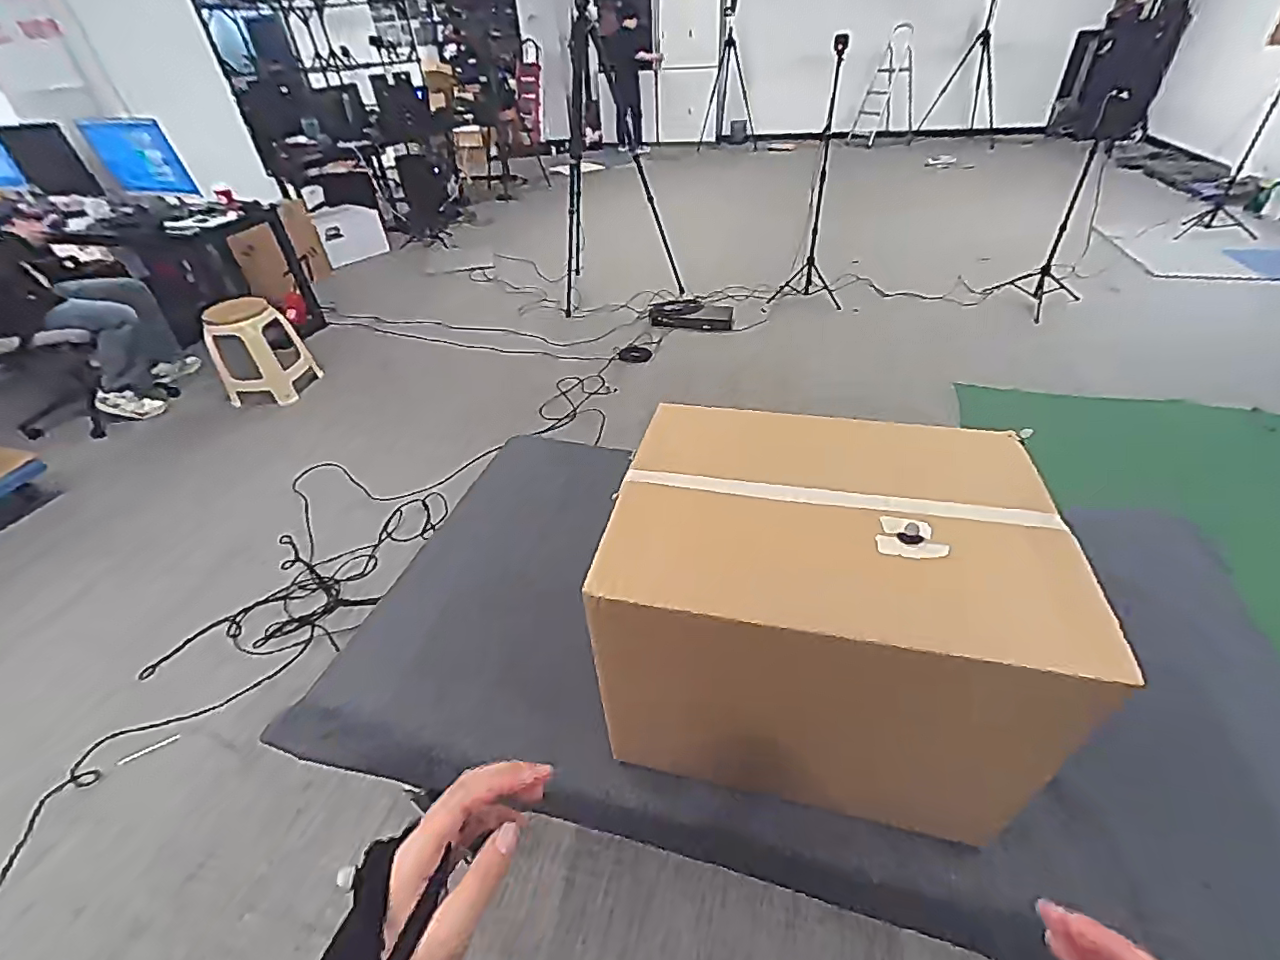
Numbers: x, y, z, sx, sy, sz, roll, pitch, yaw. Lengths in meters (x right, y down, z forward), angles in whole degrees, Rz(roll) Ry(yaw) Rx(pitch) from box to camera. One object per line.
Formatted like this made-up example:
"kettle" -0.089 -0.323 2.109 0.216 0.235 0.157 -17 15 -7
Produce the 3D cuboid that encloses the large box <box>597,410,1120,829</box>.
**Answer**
"large box" 0.189 0.141 0.628 0.408 0.320 0.320 7 40 12
